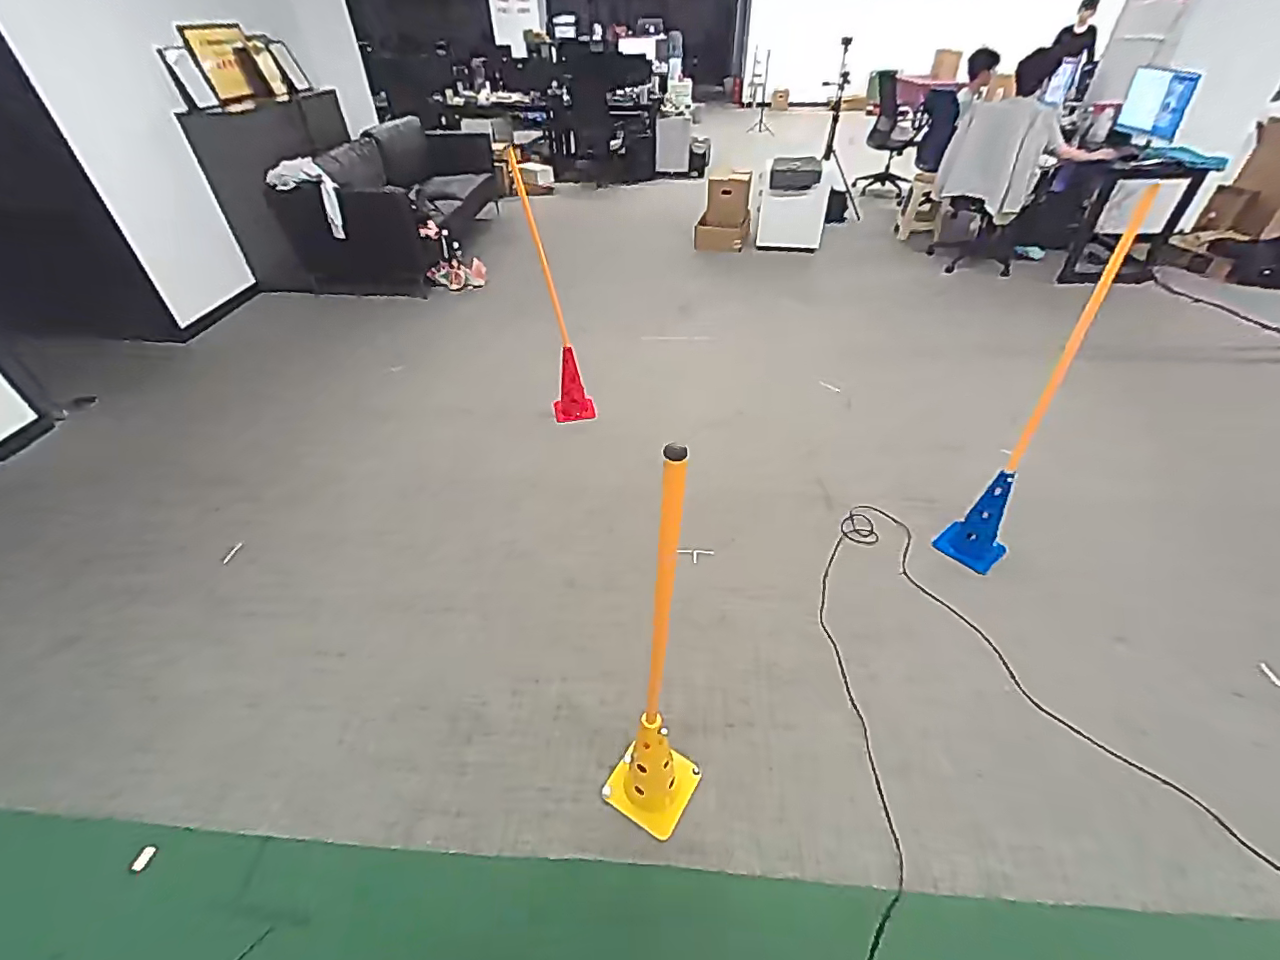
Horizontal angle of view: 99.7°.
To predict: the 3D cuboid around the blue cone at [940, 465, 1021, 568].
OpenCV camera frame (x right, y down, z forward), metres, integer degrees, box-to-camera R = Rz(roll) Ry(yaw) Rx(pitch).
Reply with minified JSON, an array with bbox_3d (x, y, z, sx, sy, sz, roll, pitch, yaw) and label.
[{"bbox_3d":[1.224,0.103,1.892,0.193,0.380,0.192,-28,47,-31],"label":"blue cone"}]
